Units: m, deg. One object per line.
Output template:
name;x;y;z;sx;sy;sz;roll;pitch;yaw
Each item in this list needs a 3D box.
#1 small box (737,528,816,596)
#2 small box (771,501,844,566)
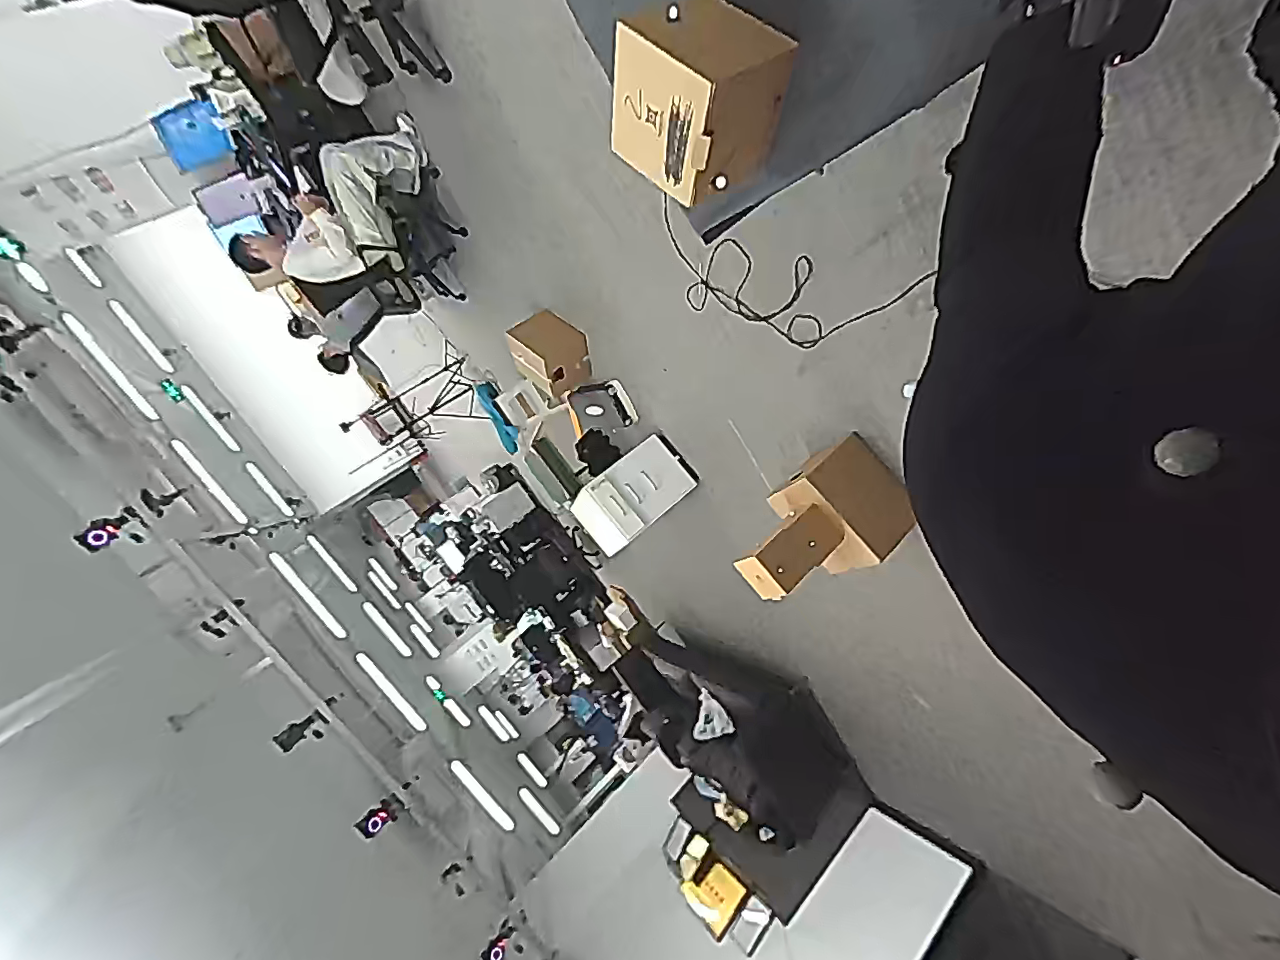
small box;0.490;0.290;1.939;0.179;0.176;0.168;50;156;3
small box;0.615;0.207;2.002;0.179;0.176;0.168;51;157;3
